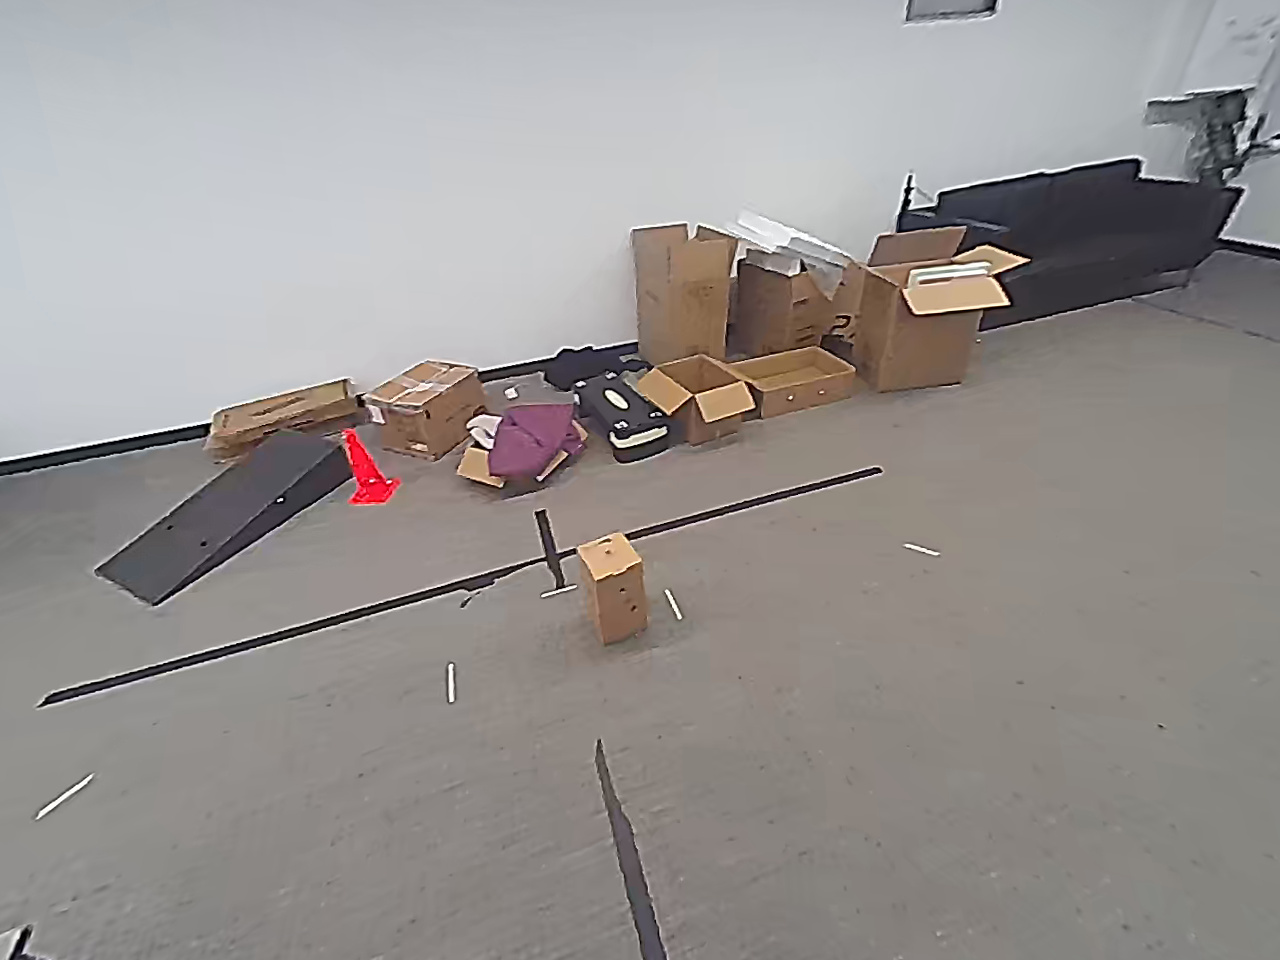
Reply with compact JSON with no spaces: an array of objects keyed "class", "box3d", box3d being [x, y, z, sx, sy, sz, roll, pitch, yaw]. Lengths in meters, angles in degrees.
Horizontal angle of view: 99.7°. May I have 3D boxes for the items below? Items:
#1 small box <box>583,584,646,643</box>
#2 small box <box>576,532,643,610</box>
[{"class":"small box","box3d":[-0.088,0.437,1.901,0.179,0.176,0.168,-18,37,-18]},{"class":"small box","box3d":[-0.098,0.309,1.799,0.168,0.176,0.179,-18,39,-19]}]
